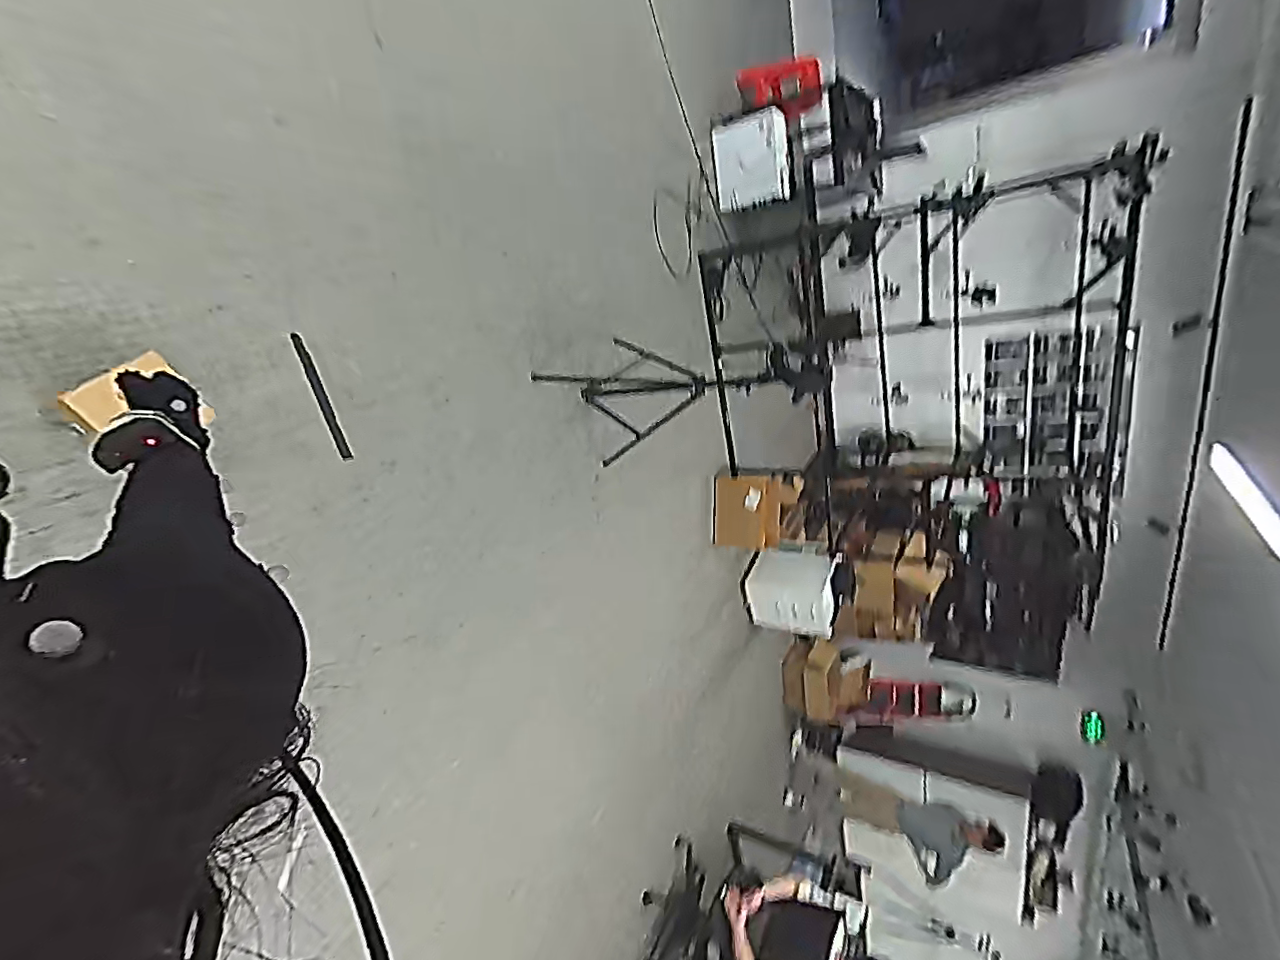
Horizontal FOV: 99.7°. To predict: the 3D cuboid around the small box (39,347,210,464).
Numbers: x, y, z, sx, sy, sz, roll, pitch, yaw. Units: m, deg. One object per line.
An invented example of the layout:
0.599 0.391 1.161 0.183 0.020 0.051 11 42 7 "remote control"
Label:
-1.043 -0.149 1.097 0.179 0.176 0.168 -55 134 -38 "small box"
